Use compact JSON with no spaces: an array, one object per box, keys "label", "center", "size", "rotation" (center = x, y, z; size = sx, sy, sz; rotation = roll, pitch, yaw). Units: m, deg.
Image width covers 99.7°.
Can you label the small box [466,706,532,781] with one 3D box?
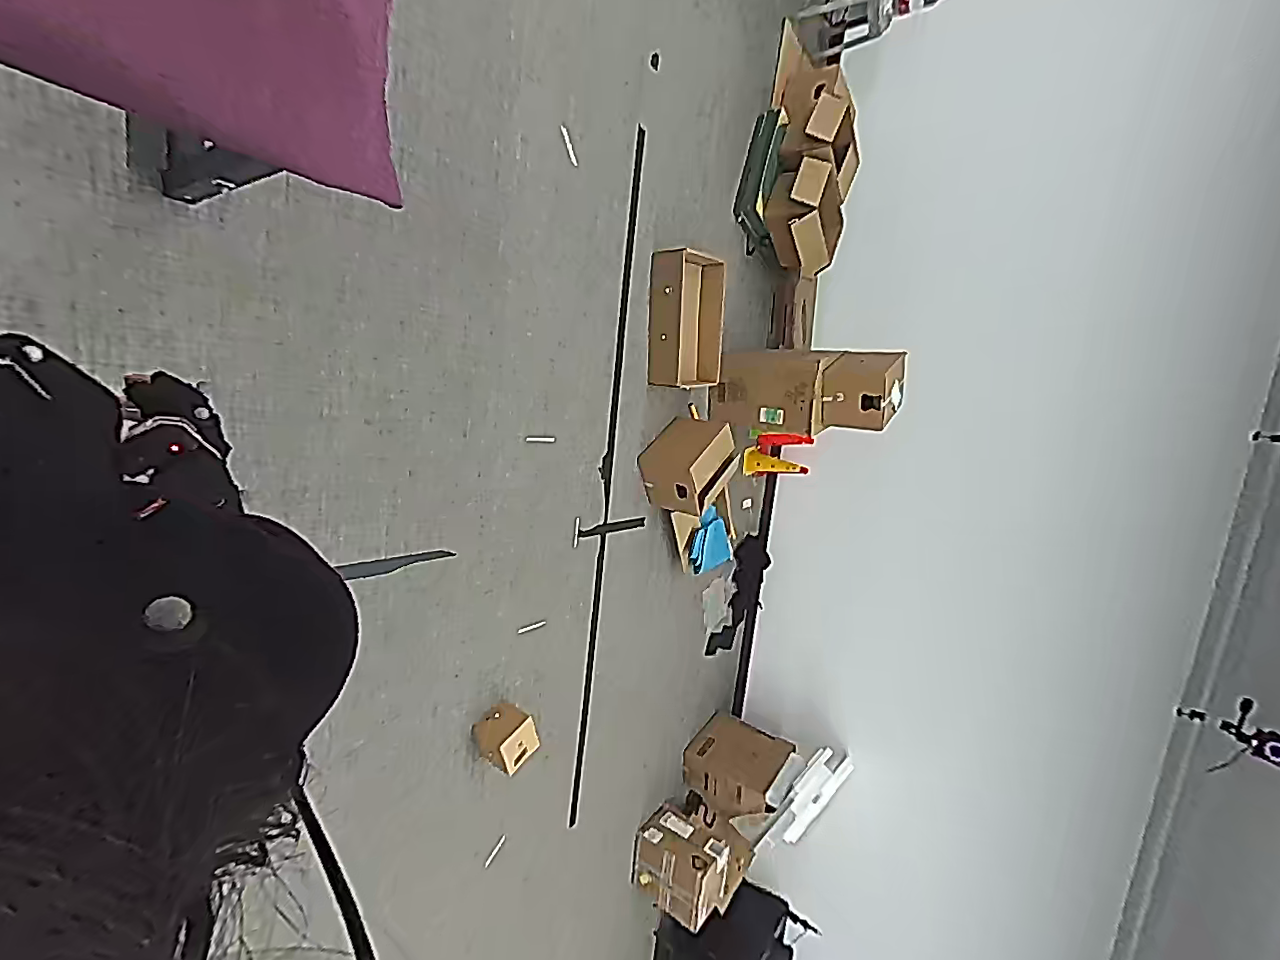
[{"label":"small box","center":[-0.557,1.033,2.135],"size":[0.168,0.176,0.179],"rotation":[-36,127,-45]}]
